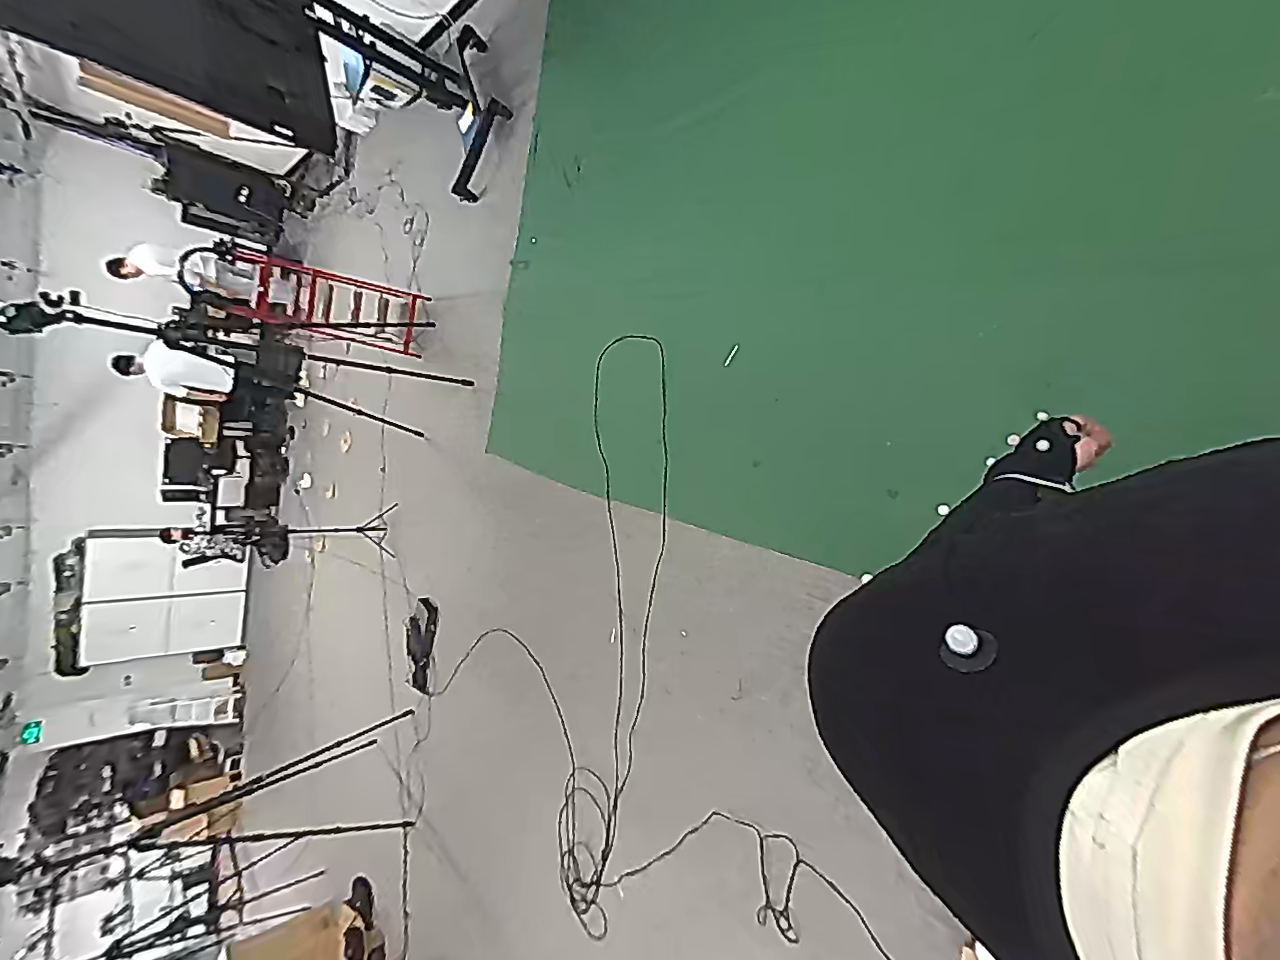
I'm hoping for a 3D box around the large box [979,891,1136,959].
[{"bbox_3d":[0.956,1.205,1.144,0.408,0.320,0.320,13,96,45],"label":"large box"}]
